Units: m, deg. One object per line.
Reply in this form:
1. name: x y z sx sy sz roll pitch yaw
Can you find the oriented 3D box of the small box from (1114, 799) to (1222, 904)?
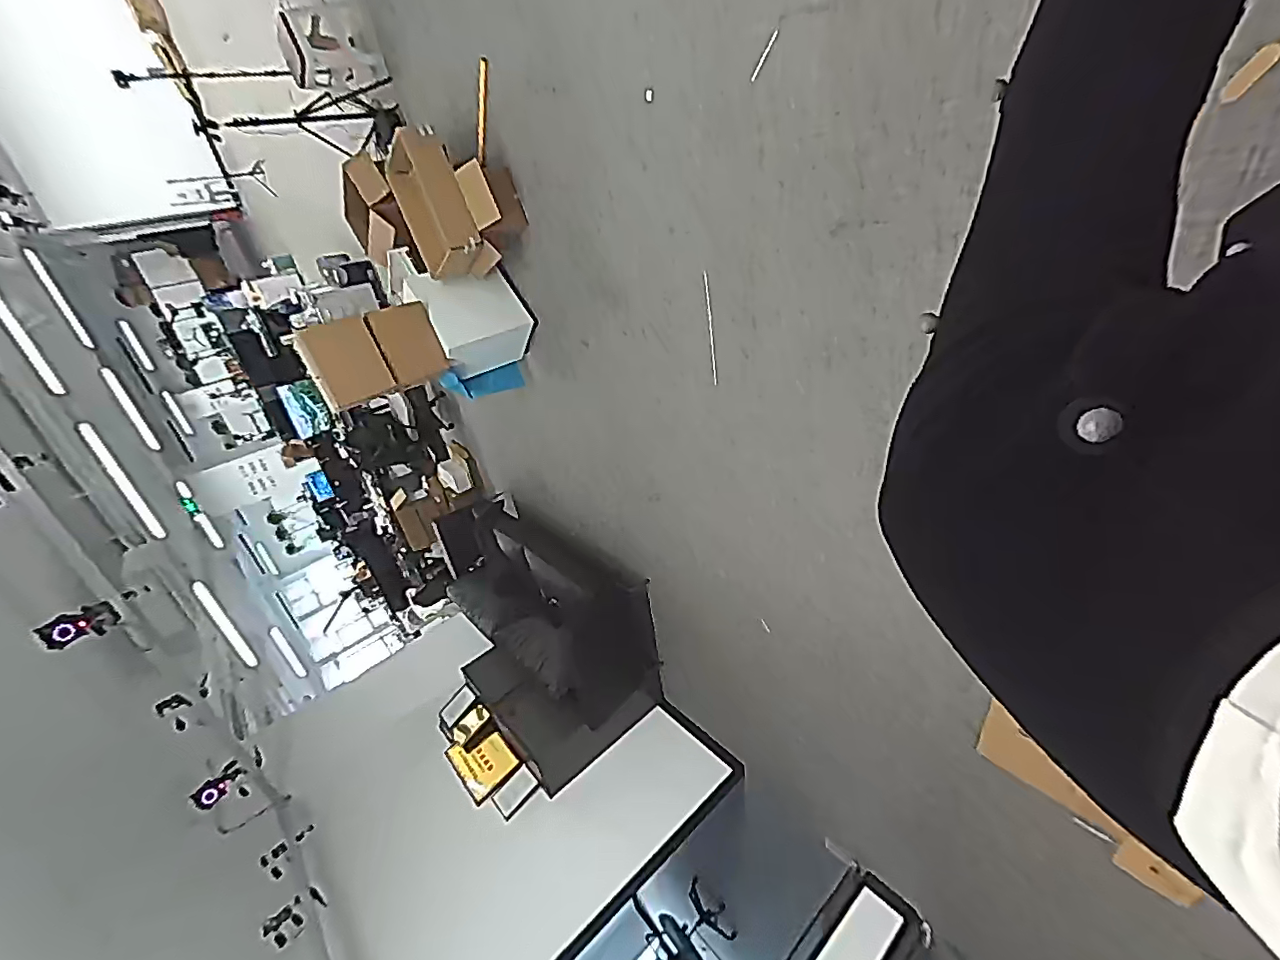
1. small box: 1.581 1.099 1.620 0.179 0.176 0.168 26 136 43
